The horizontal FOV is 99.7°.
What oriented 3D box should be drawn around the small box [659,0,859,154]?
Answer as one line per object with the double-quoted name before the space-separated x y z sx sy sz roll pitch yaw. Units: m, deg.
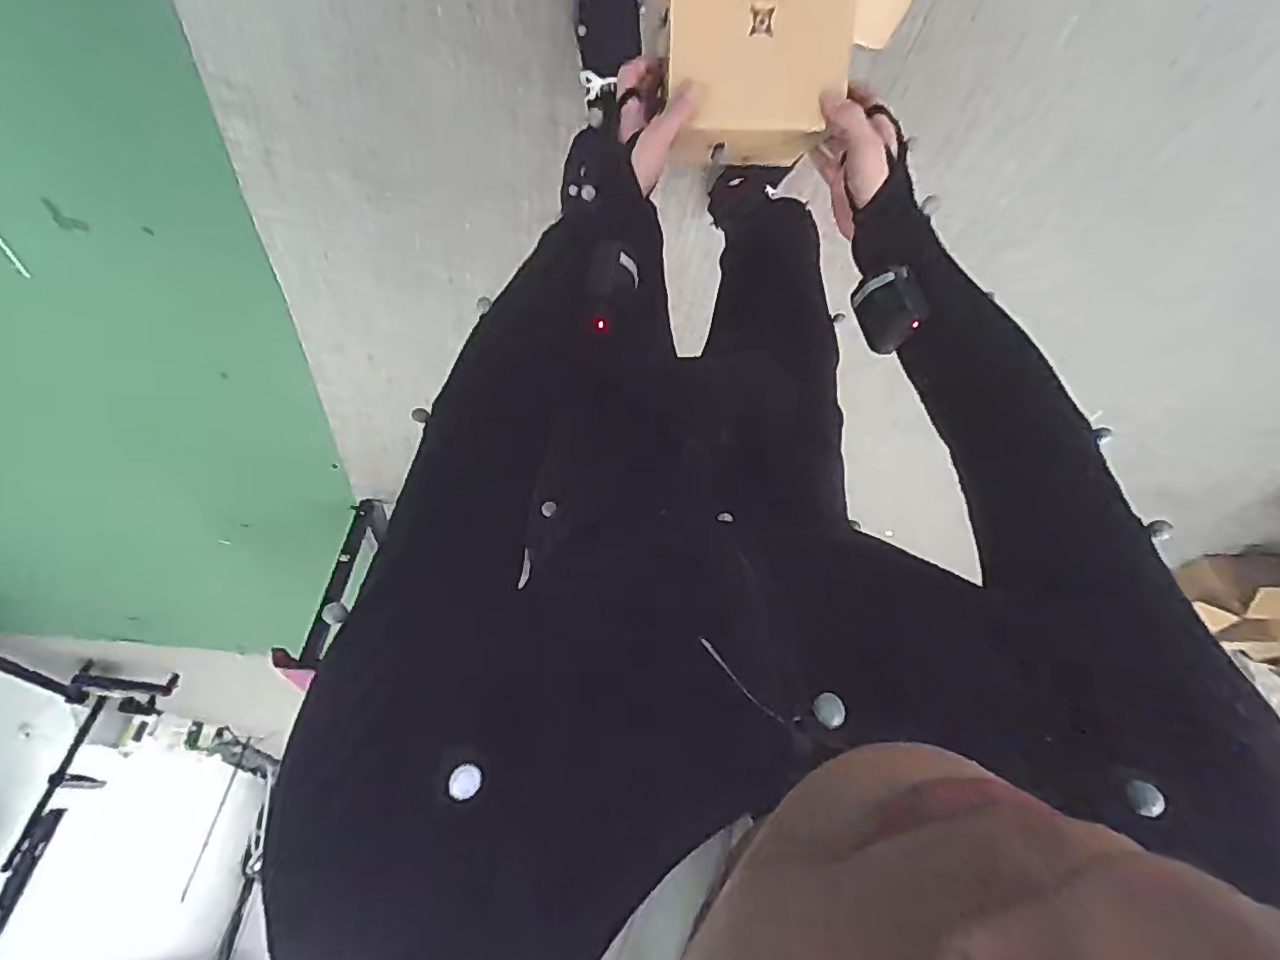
"small box" 0.106 -0.439 0.537 0.168 0.176 0.179 0 110 -1
